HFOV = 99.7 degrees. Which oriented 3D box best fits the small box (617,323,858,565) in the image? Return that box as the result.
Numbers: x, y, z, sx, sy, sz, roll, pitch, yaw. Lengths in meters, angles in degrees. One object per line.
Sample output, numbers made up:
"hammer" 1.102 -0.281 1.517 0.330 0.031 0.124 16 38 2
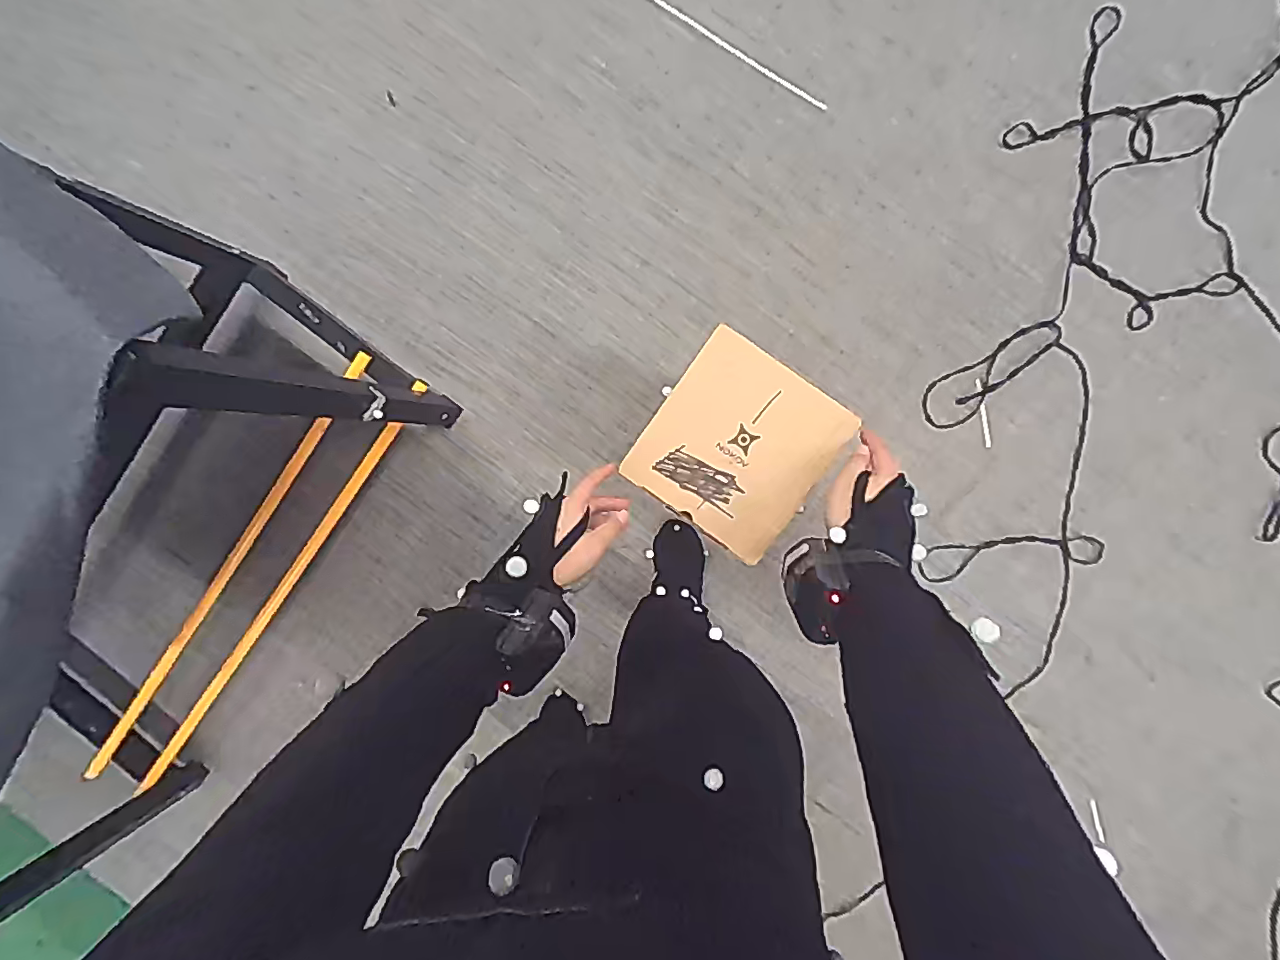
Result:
"small box" 0.099 -0.036 0.593 0.168 0.176 0.179 36 95 2
